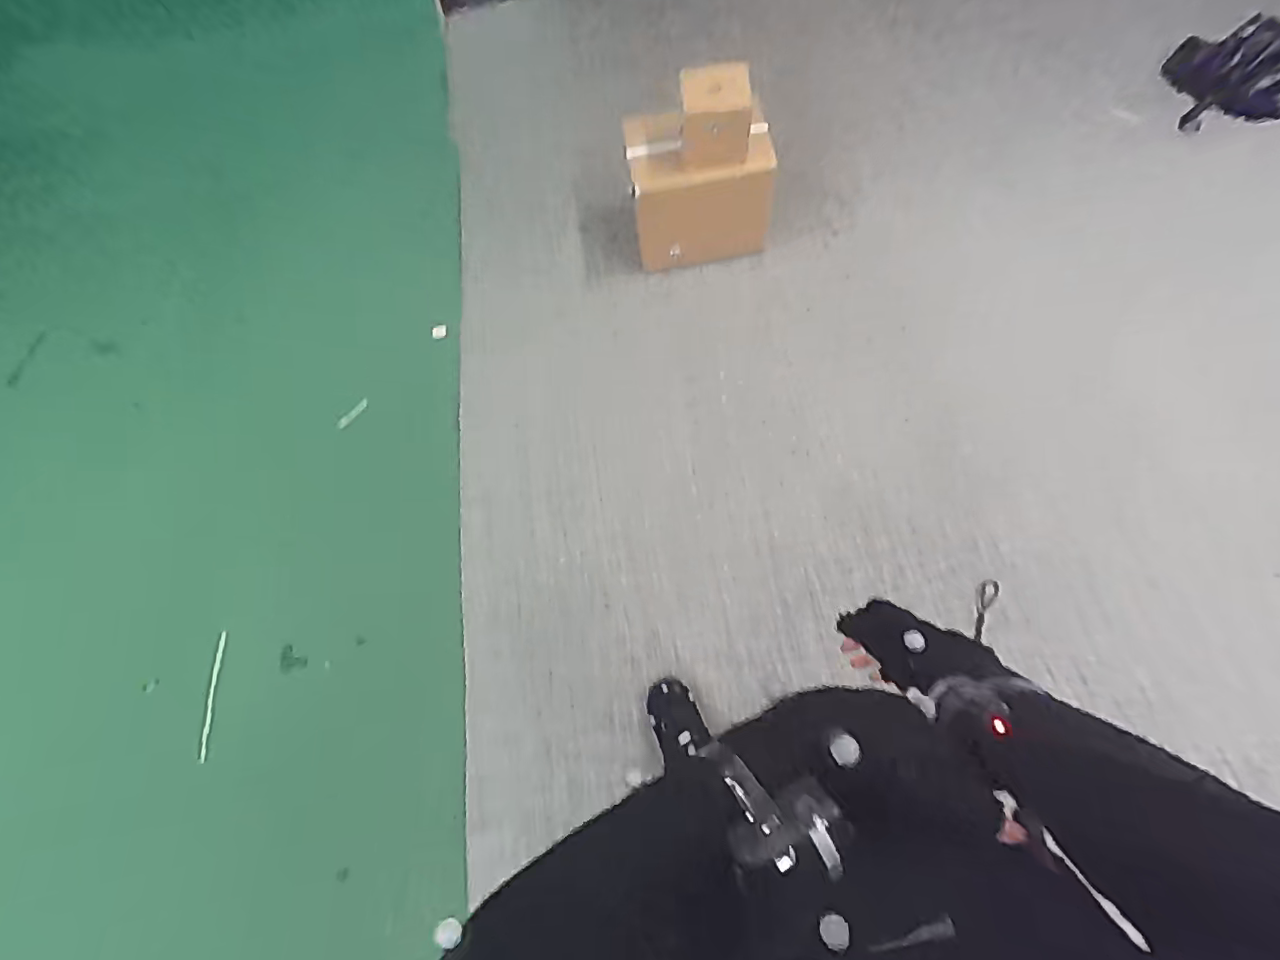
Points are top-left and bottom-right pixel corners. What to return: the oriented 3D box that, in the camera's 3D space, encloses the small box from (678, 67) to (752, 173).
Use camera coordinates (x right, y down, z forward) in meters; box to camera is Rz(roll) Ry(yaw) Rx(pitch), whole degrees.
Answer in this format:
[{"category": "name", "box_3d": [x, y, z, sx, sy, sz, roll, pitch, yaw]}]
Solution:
[{"category": "small box", "box_3d": [0.196, -0.951, 1.440, 0.179, 0.176, 0.168, -4, 70, 4]}]
